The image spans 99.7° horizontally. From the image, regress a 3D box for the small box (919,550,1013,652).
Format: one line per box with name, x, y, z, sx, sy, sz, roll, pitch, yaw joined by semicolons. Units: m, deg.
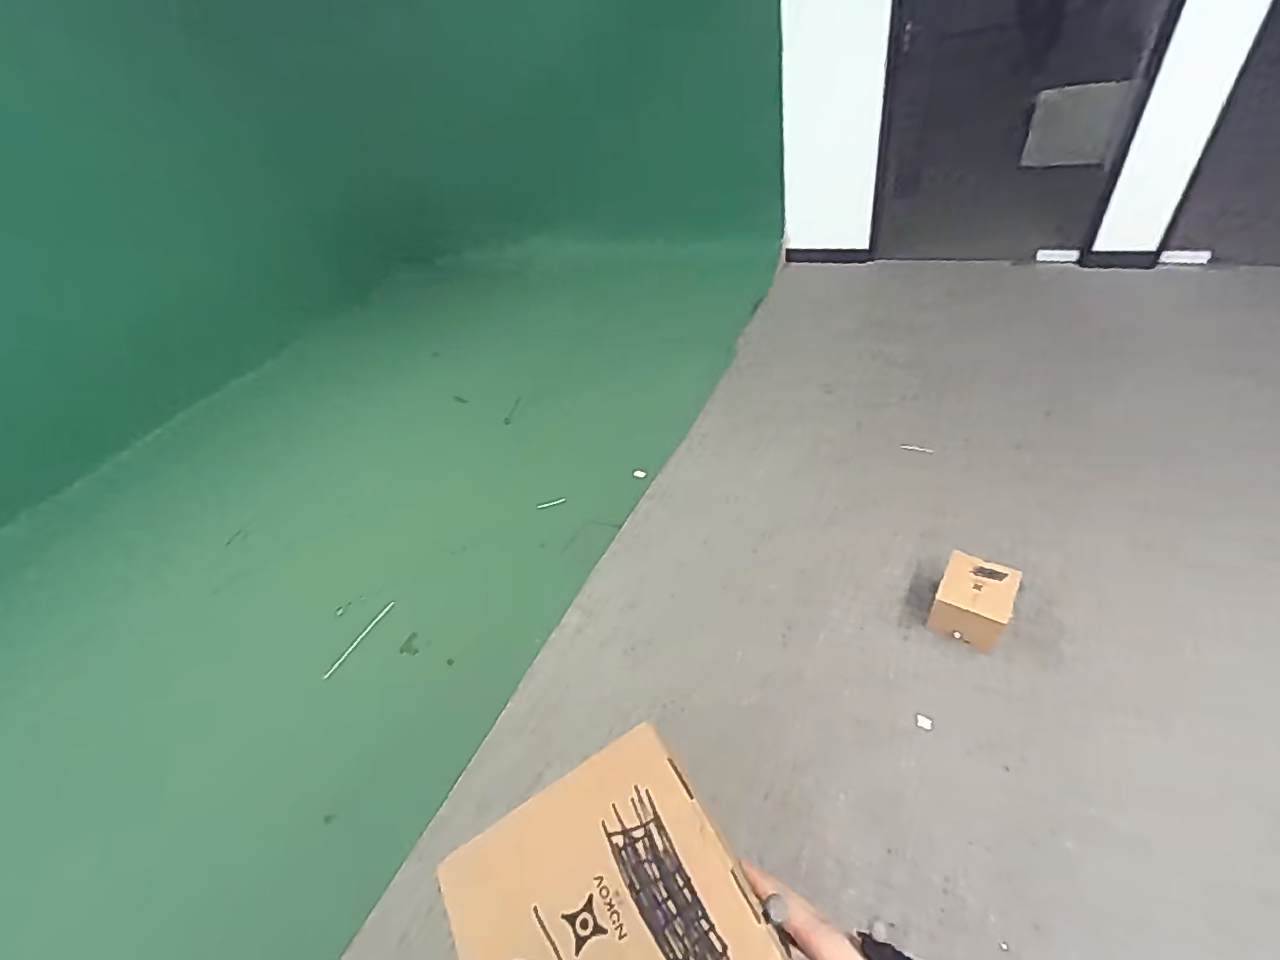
small box;0.877;0.329;1.468;0.168;0.176;0.179;20;55;31
